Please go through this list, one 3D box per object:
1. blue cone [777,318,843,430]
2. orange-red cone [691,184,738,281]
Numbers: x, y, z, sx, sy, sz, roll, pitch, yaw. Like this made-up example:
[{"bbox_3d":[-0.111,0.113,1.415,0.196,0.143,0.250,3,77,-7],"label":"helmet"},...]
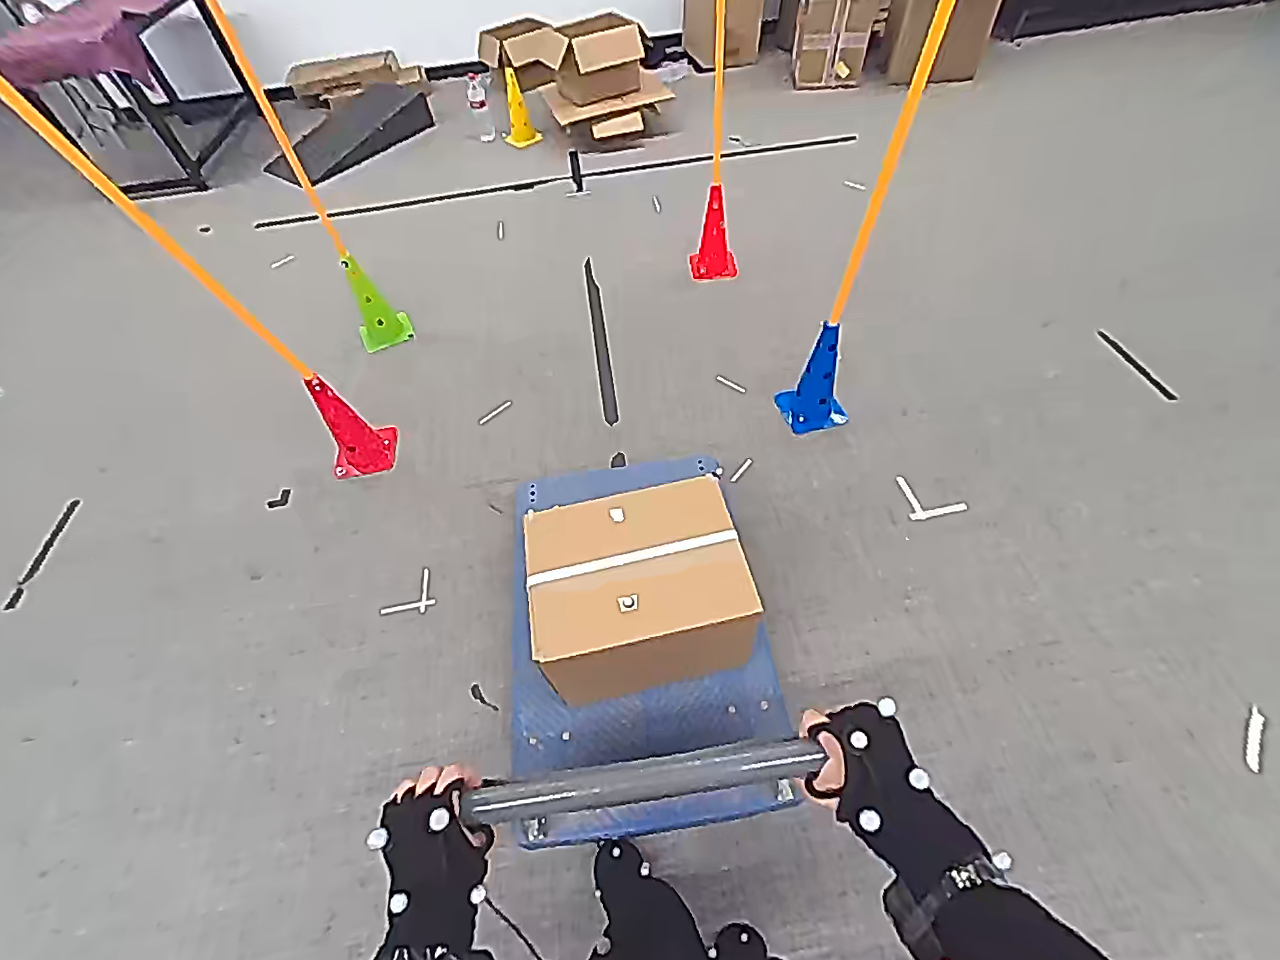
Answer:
[{"bbox_3d":[0.580,-0.349,1.745,0.193,0.380,0.192,-12,52,-5],"label":"blue cone"},{"bbox_3d":[0.321,-1.050,2.266,0.199,0.360,0.198,-3,54,1],"label":"orange-red cone"}]
